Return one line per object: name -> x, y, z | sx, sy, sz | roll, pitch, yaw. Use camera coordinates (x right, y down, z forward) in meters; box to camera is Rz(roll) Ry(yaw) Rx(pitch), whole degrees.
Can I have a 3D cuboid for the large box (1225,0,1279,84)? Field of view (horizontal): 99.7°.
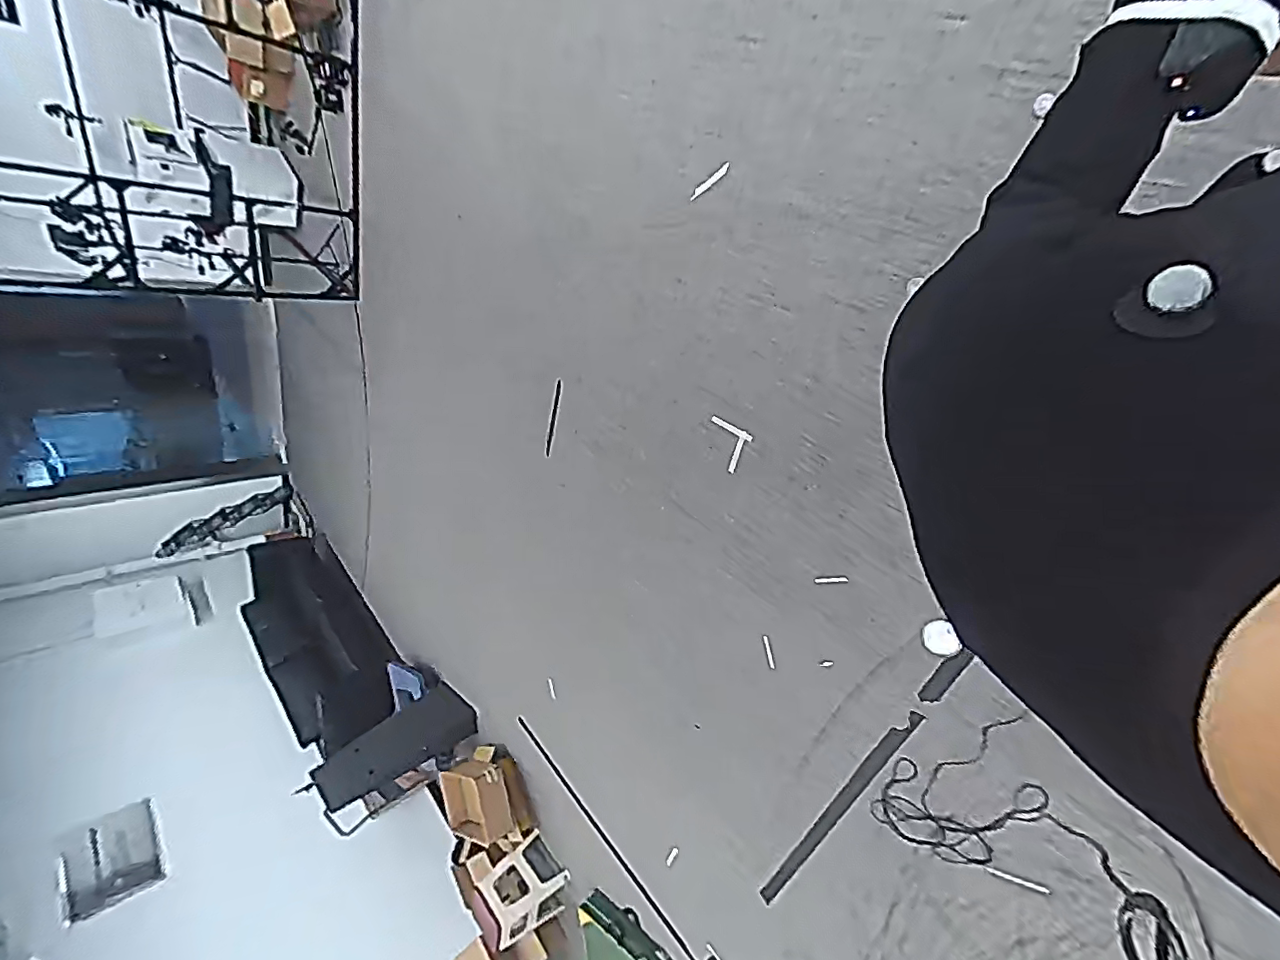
large box -> 0.649, -0.396, 0.268 | 0.408, 0.320, 0.320 | 31, 132, 32
